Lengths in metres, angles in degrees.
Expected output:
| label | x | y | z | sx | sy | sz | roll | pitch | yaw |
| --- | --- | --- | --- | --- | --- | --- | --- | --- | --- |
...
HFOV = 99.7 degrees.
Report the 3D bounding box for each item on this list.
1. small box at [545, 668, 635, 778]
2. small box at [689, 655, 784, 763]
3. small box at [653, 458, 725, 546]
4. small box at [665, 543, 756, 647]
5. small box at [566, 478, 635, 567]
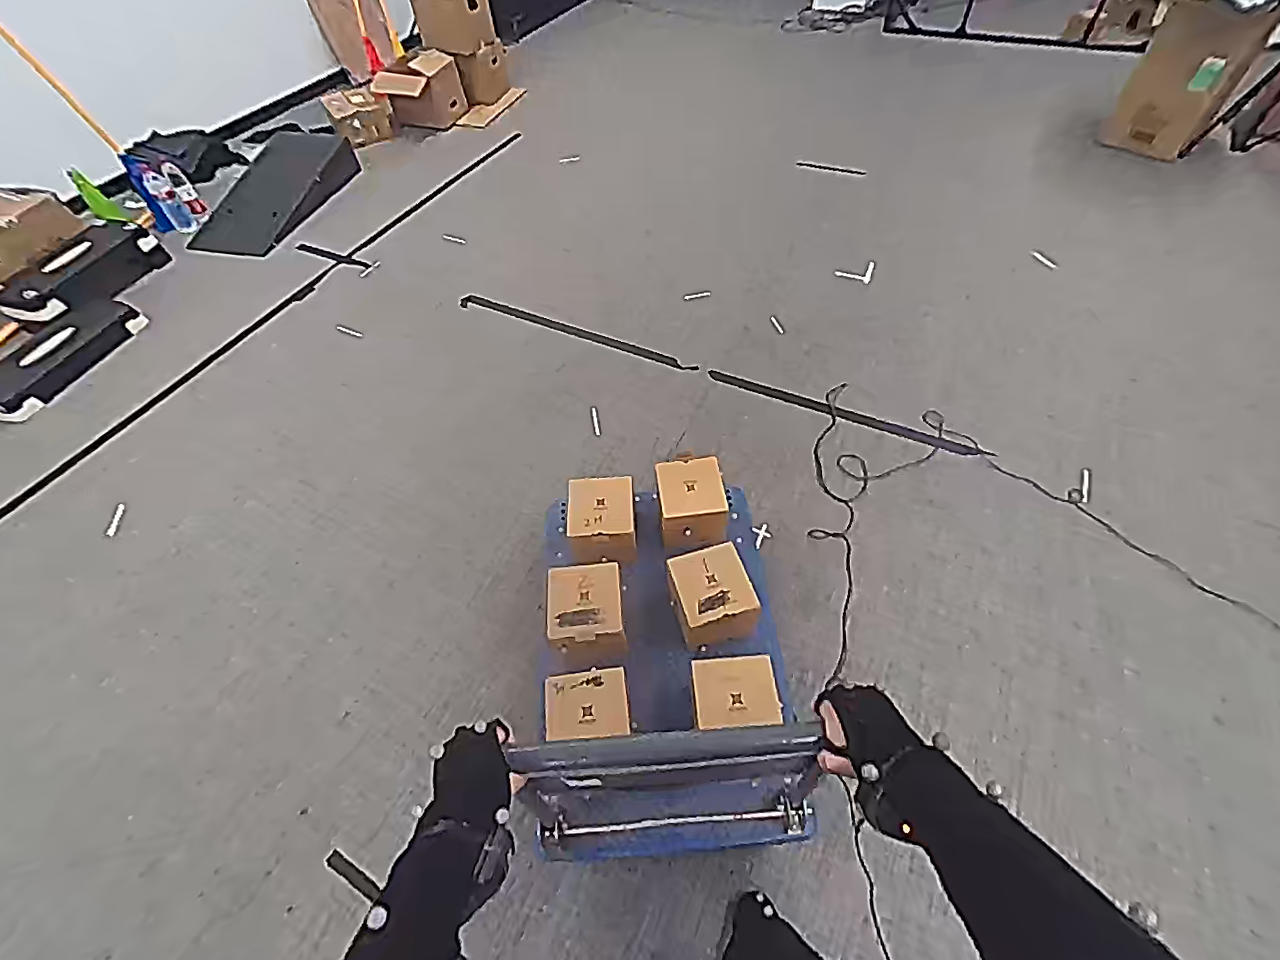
| label | x | y | z | sx | sy | sz | roll | pitch | yaw |
| --- | --- | --- | --- | --- | --- | --- | --- | --- | --- |
| small box | -0.103 | 0.516 | 1.136 | 0.168 | 0.176 | 0.179 | -7 | 54 | -3 |
| small box | 0.194 | 0.487 | 1.140 | 0.168 | 0.176 | 0.179 | -4 | 52 | 0 |
| small box | 0.129 | 0.067 | 1.457 | 0.168 | 0.176 | 0.179 | -7 | 53 | -2 |
| small box | 0.163 | 0.282 | 1.293 | 0.168 | 0.176 | 0.179 | -14 | 53 | -7 |
| small box | -0.100 | 0.114 | 1.432 | 0.168 | 0.176 | 0.179 | -3 | 54 | 1 |
